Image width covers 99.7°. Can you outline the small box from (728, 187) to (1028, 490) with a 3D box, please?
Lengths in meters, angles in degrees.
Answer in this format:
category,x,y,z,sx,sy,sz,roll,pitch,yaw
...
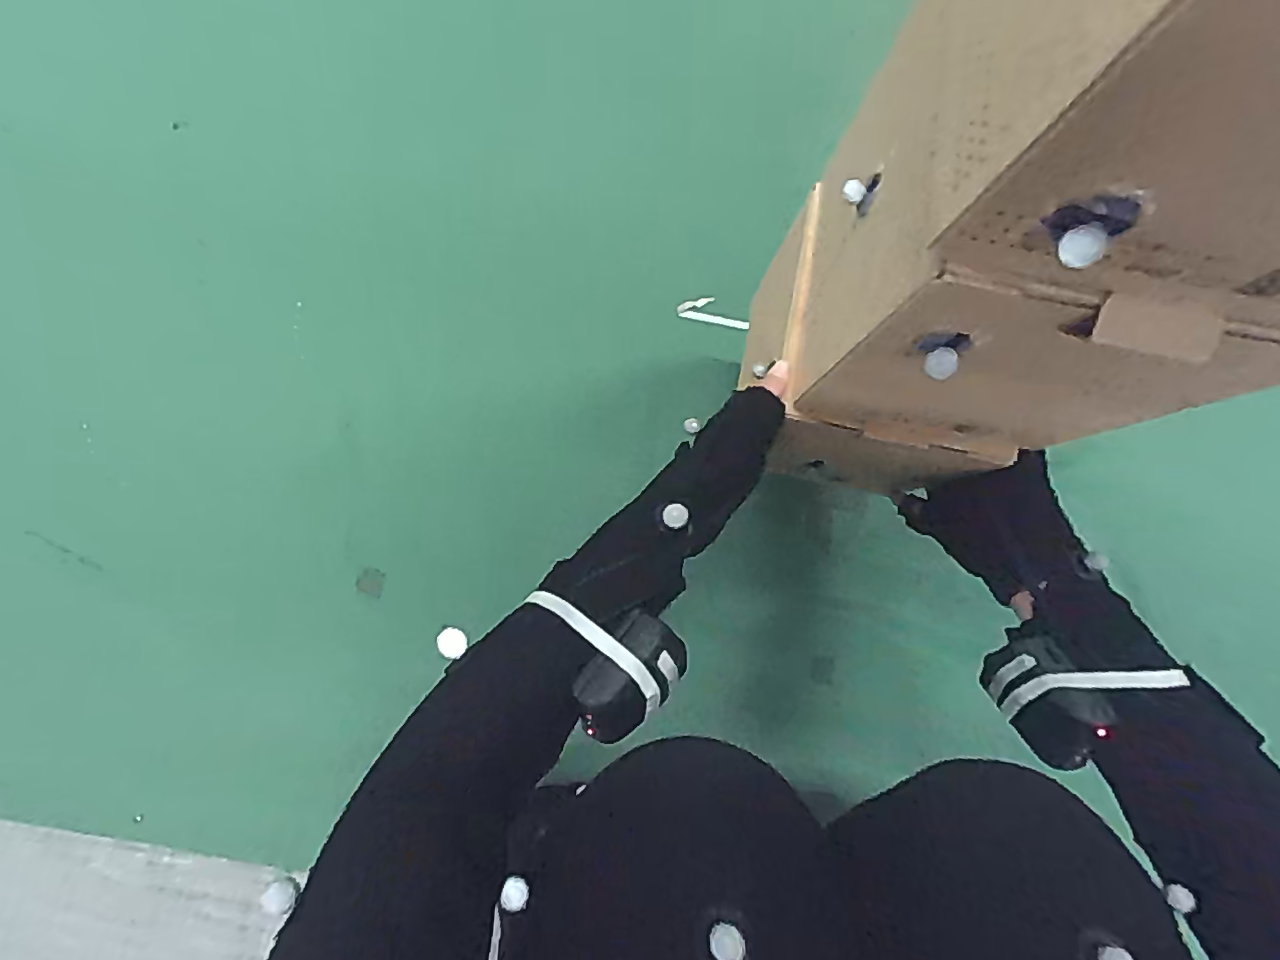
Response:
category,x,y,z,sx,sy,sz,roll,pitch,yaw
small box,0.180,-0.099,0.455,0.168,0.176,0.179,12,82,-1
